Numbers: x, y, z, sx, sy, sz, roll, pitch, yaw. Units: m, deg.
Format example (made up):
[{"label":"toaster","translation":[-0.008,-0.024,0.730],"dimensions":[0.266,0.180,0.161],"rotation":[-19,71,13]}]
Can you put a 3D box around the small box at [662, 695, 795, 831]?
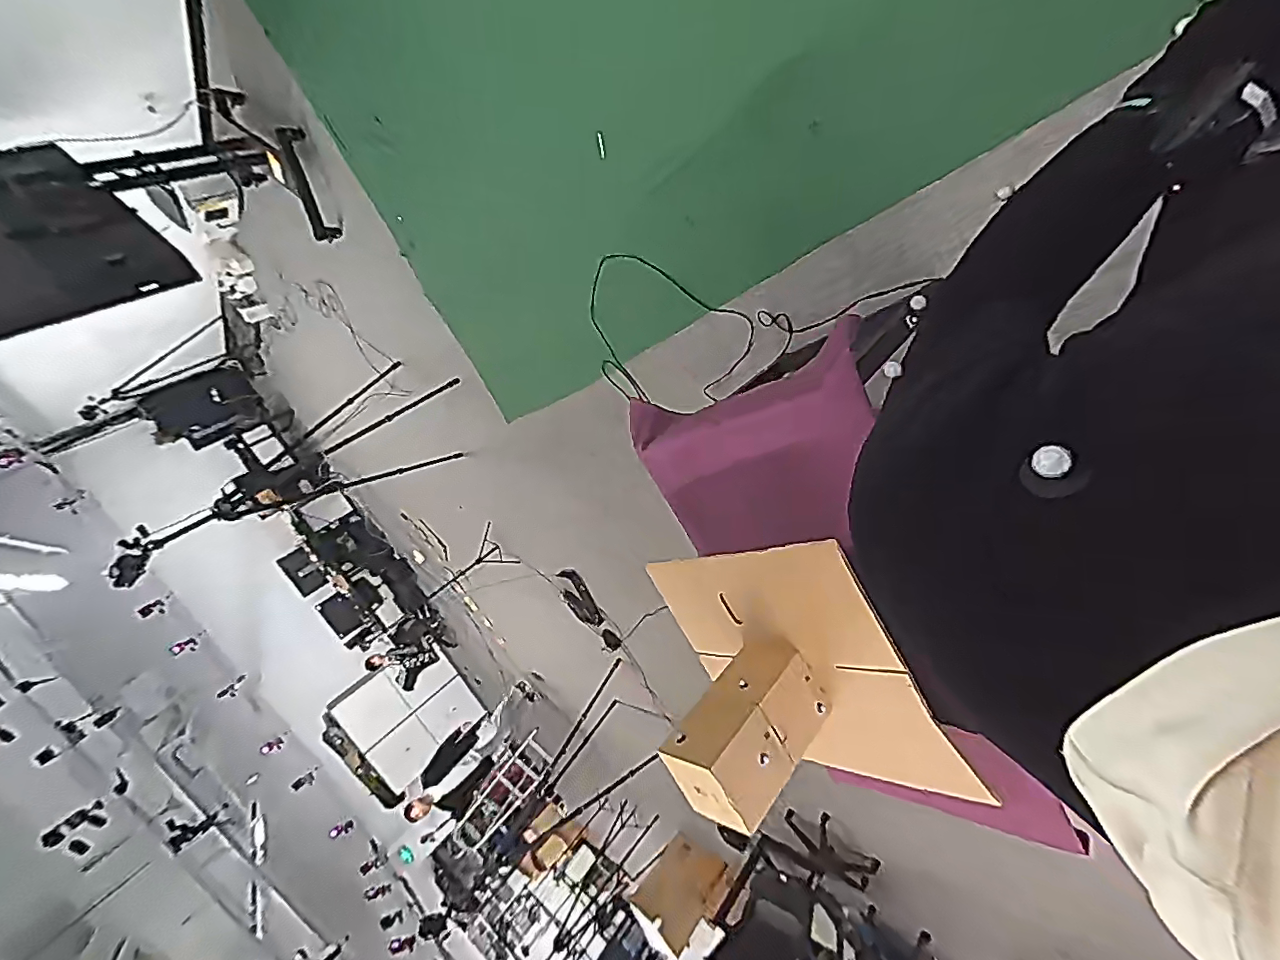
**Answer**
[{"label":"small box","translation":[0.185,0.571,1.121],"dimensions":[0.179,0.176,0.168],"rotation":[-21,103,53]}]

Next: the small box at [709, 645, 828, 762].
[{"label":"small box","translation":[0.295,0.489,1.212],"dimensions":[0.179,0.176,0.168],"rotation":[-20,103,55]}]
